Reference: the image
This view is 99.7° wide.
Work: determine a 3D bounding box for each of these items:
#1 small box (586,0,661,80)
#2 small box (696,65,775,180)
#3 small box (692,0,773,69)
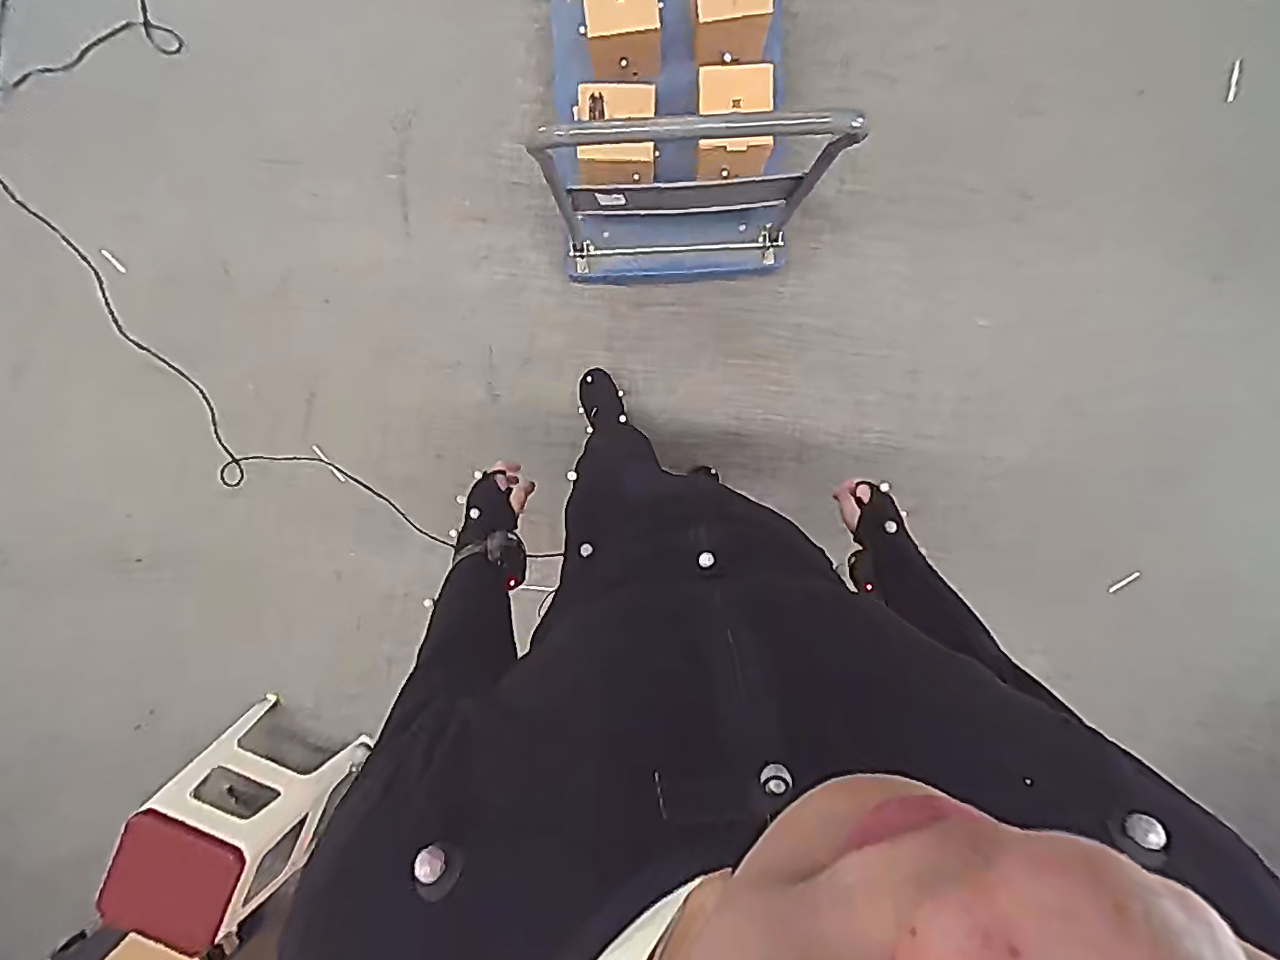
[{"bbox_3d":[-0.037,-1.096,1.292,0.168,0.176,0.179,-6,94,2],"label":"small box"},{"bbox_3d":[0.224,-0.853,1.302,0.168,0.176,0.179,-1,95,2],"label":"small box"},{"bbox_3d":[0.213,-1.122,1.279,0.168,0.176,0.179,-5,95,4],"label":"small box"}]
